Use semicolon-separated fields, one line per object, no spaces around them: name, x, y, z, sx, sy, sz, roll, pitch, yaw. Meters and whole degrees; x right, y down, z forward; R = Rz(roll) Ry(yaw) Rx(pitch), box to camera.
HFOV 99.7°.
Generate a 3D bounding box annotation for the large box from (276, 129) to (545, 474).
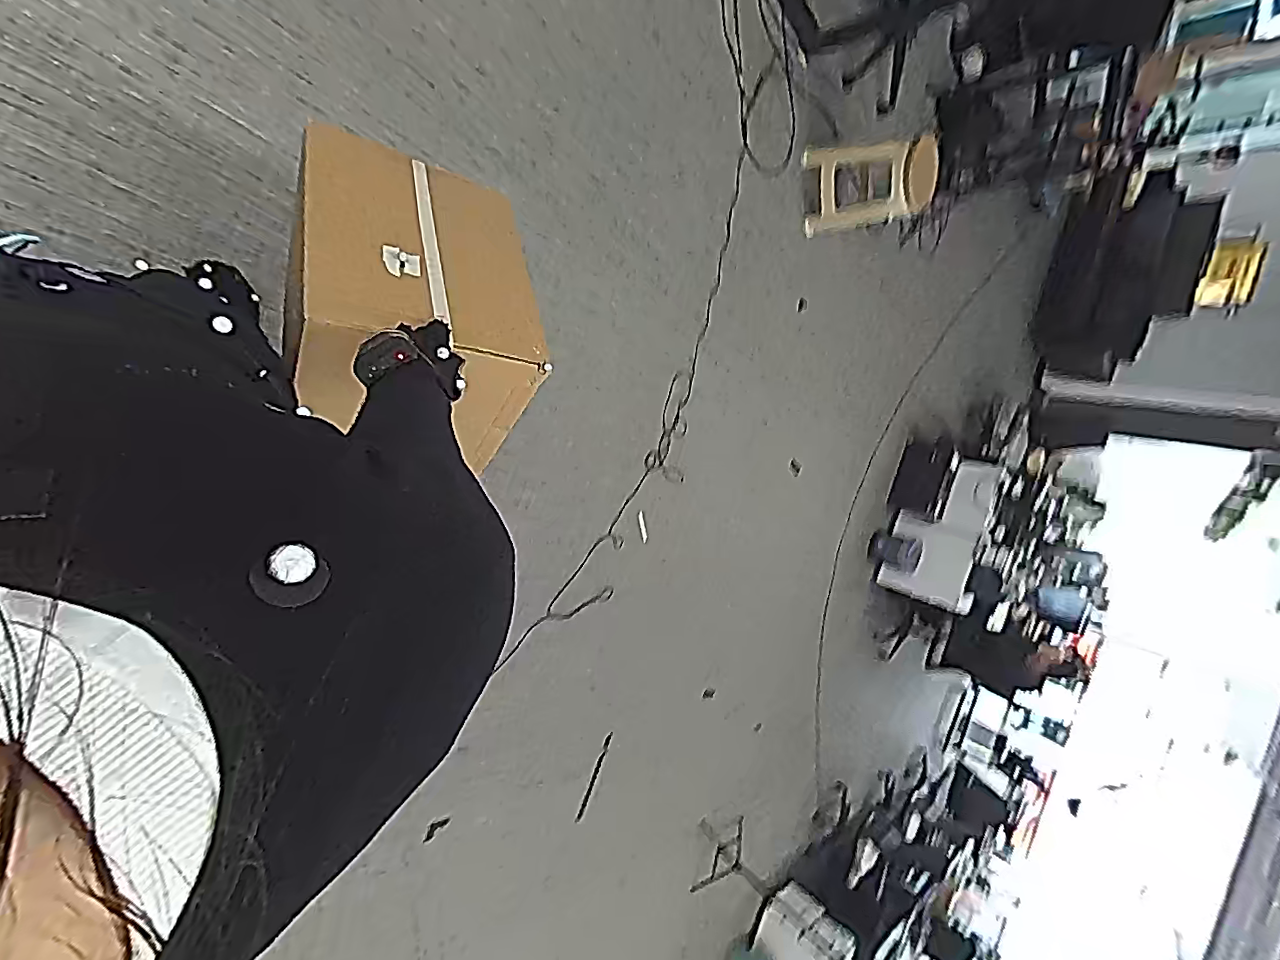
large box;-0.400;-0.261;0.894;0.320;0.320;0.408;2;58;-37
